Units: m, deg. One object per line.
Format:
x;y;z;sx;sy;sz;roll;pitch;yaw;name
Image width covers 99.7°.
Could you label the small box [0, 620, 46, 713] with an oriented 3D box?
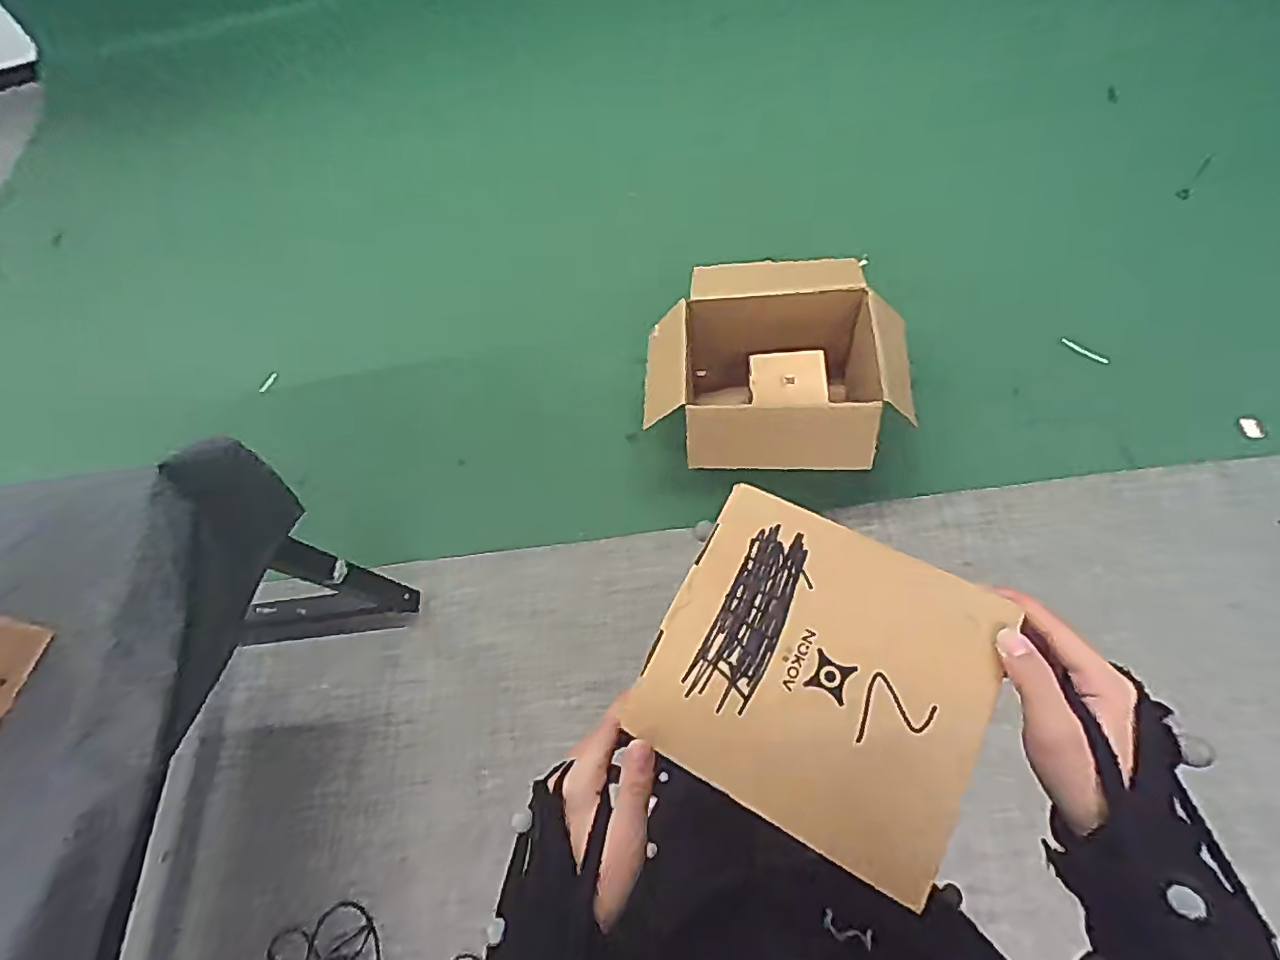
-0.828;0.218;0.581;0.179;0.176;0.168;8;66;15;small box
